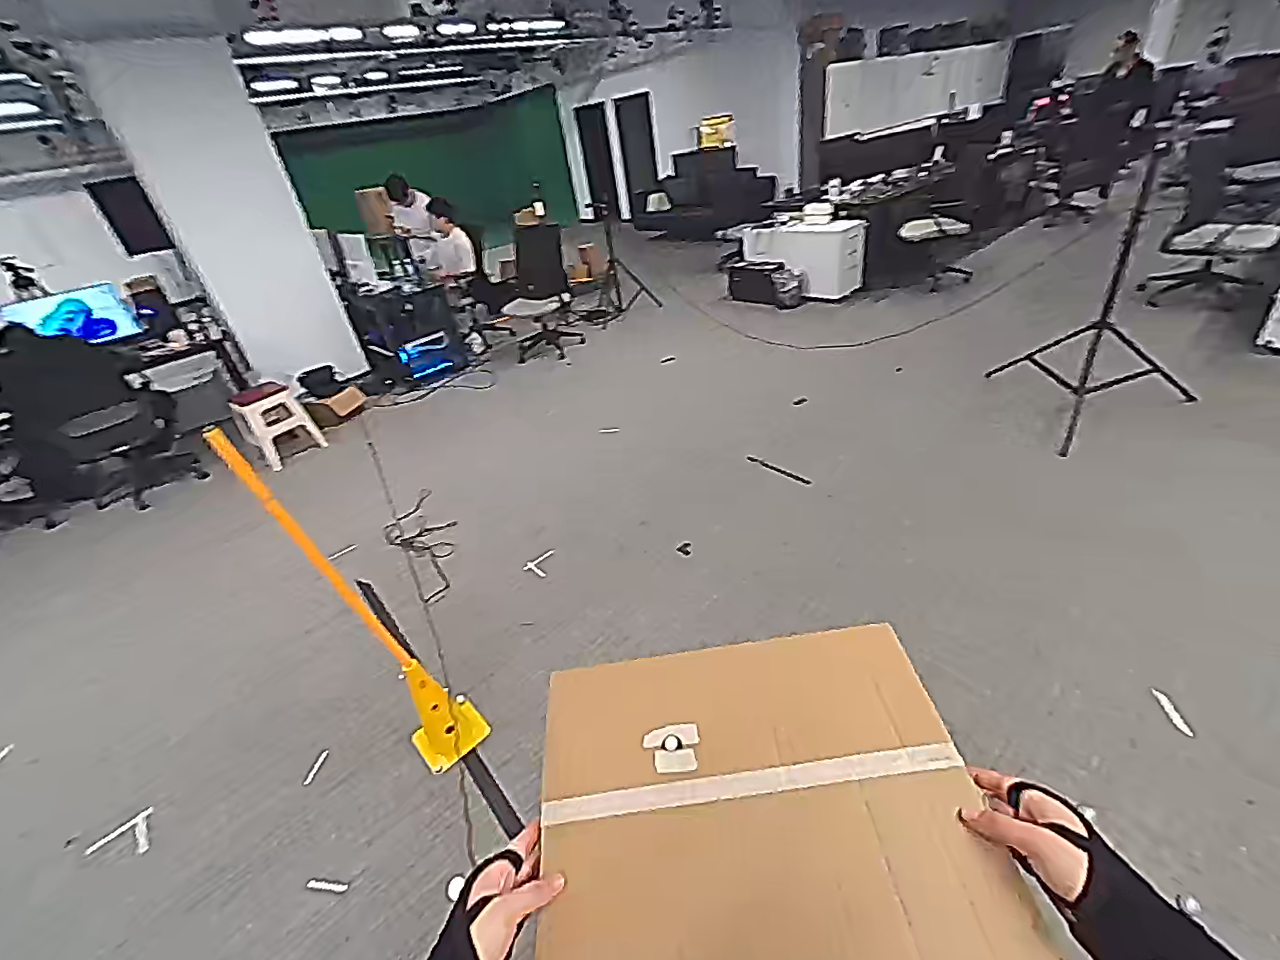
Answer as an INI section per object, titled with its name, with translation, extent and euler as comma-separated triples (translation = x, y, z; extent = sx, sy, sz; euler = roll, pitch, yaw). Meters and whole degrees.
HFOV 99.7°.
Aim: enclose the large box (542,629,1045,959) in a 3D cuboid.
[large box]
translation = 0.127, 0.422, 0.621
extent = 0.408, 0.320, 0.320
euler = -11, 38, 2
